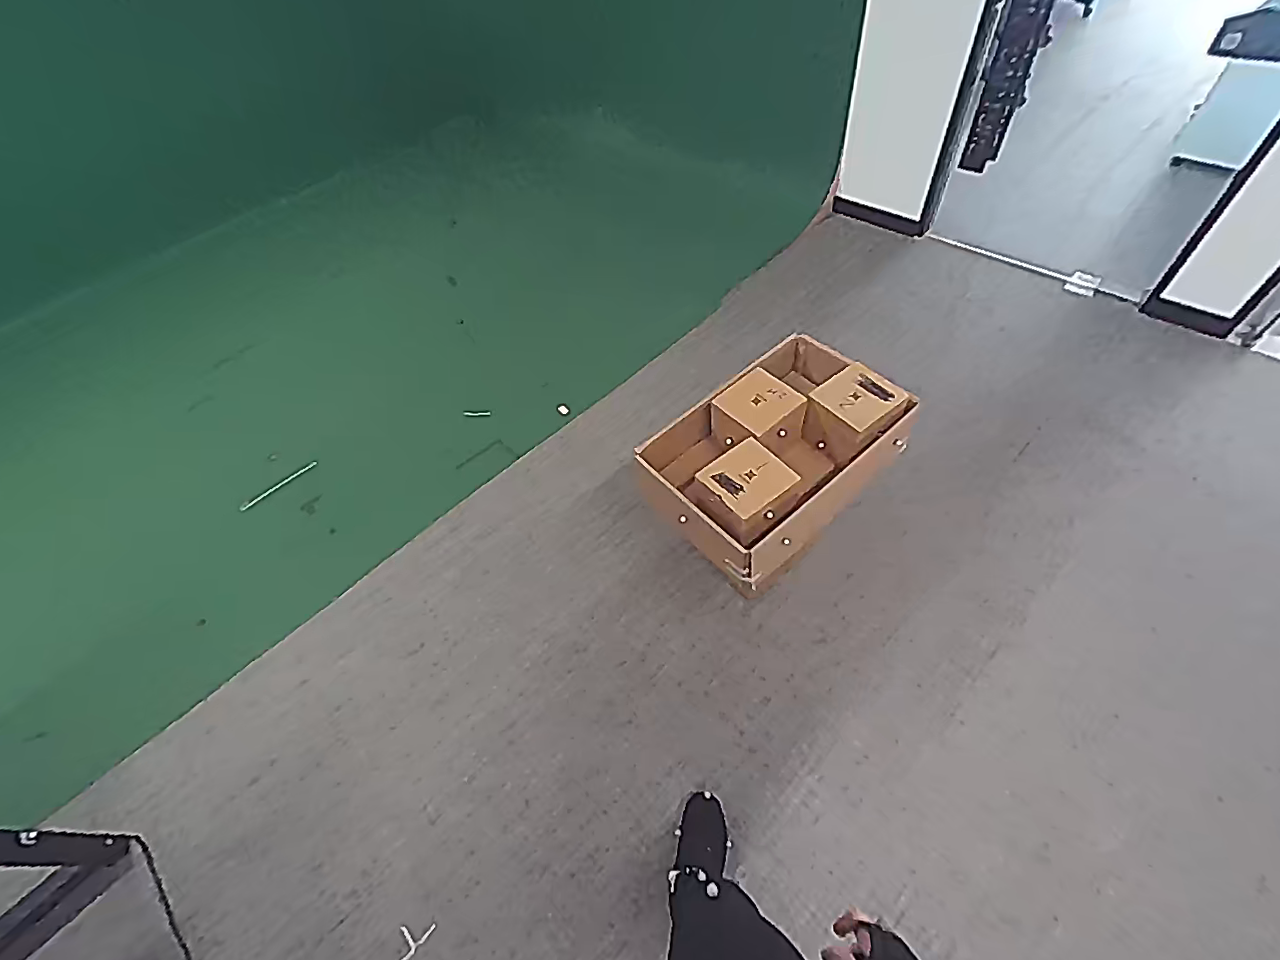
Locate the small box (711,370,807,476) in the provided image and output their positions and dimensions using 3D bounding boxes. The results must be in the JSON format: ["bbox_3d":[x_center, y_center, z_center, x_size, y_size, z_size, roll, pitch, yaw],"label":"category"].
[{"bbox_3d":[0.304,-0.143,1.396,0.179,0.176,0.168,-36,59,-16],"label":"small box"}]
